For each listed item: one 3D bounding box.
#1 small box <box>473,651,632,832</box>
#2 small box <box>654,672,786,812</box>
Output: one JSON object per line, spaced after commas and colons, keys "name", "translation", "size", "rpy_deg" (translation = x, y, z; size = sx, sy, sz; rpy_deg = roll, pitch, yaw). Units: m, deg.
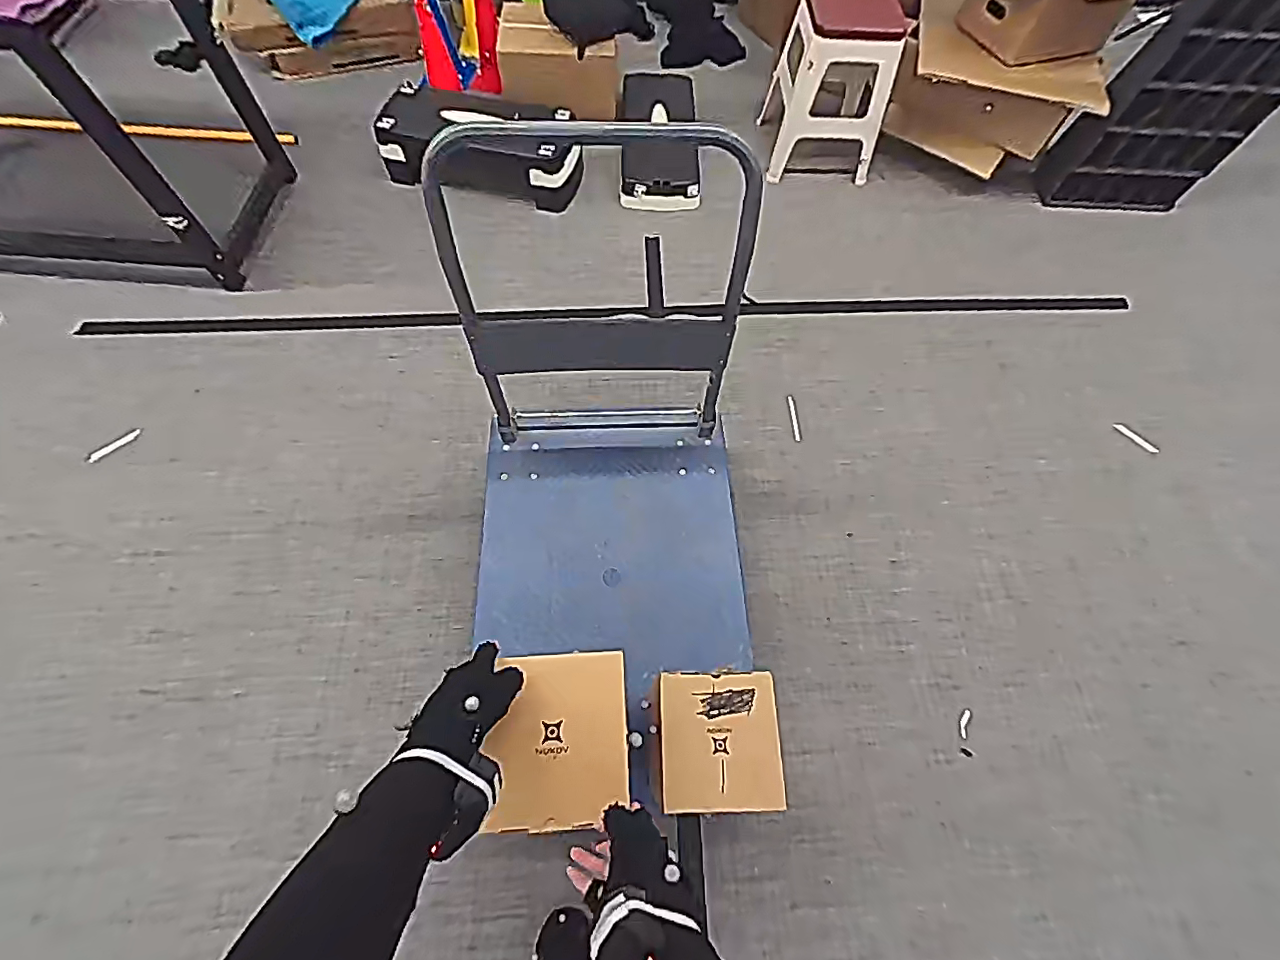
{"name": "small box", "translation": [-0.097, 0.316, 0.665], "size": [0.168, 0.176, 0.179], "rpy_deg": [-2, 64, -3]}
{"name": "small box", "translation": [0.108, 0.393, 0.819], "size": [0.168, 0.176, 0.179], "rpy_deg": [1, 65, -2]}
